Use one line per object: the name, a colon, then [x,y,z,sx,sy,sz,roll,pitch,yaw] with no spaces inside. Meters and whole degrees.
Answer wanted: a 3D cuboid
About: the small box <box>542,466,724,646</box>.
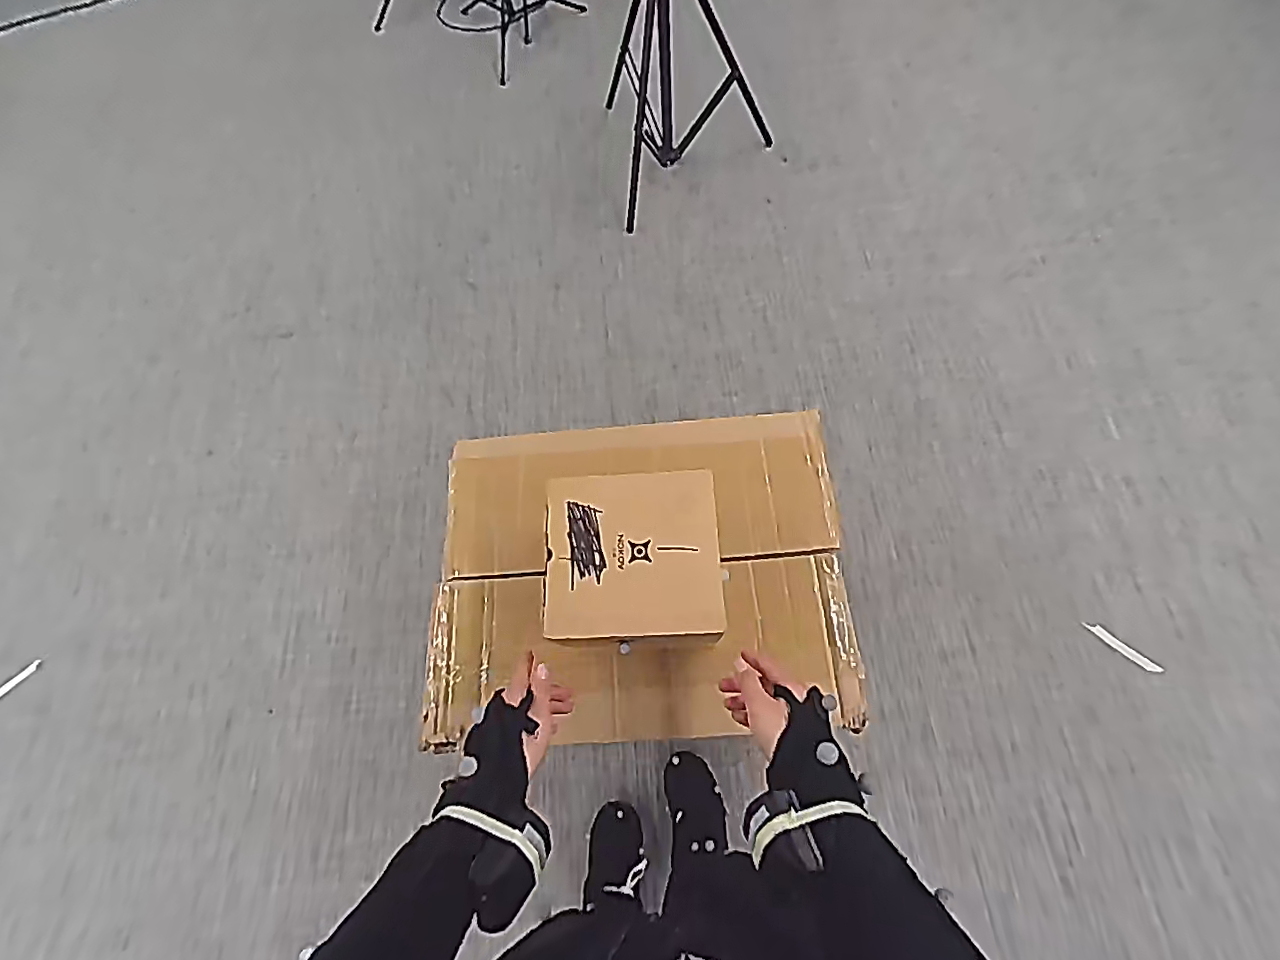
small box: [-0.003,0.095,0.612,0.179,0.176,0.168,-3,68,3]
